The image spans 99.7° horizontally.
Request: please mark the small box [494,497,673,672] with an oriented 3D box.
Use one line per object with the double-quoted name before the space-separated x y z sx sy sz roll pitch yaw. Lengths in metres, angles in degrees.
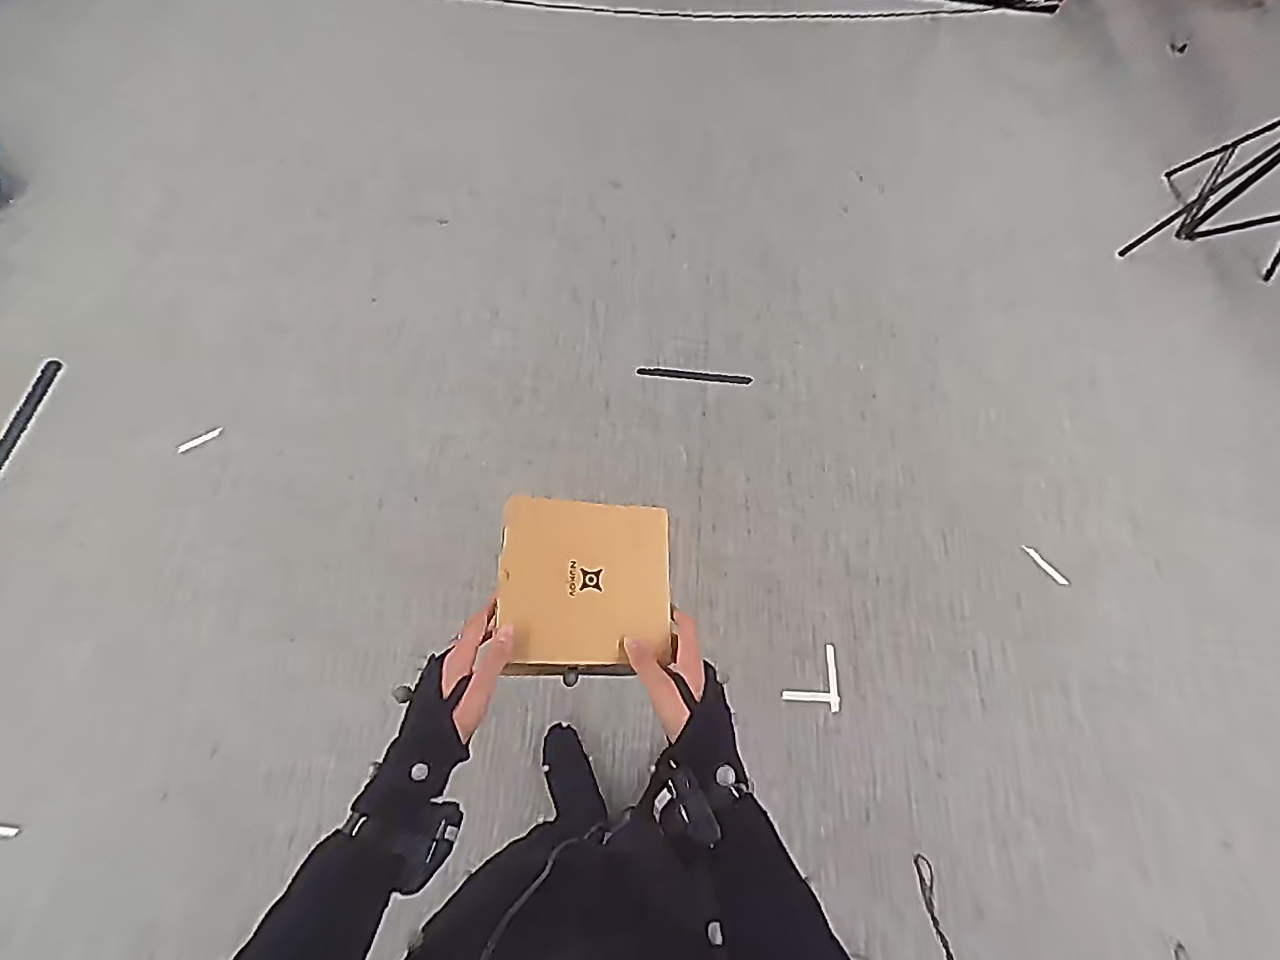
"small box" -0.068 0.129 0.622 0.179 0.176 0.168 4 67 -11
